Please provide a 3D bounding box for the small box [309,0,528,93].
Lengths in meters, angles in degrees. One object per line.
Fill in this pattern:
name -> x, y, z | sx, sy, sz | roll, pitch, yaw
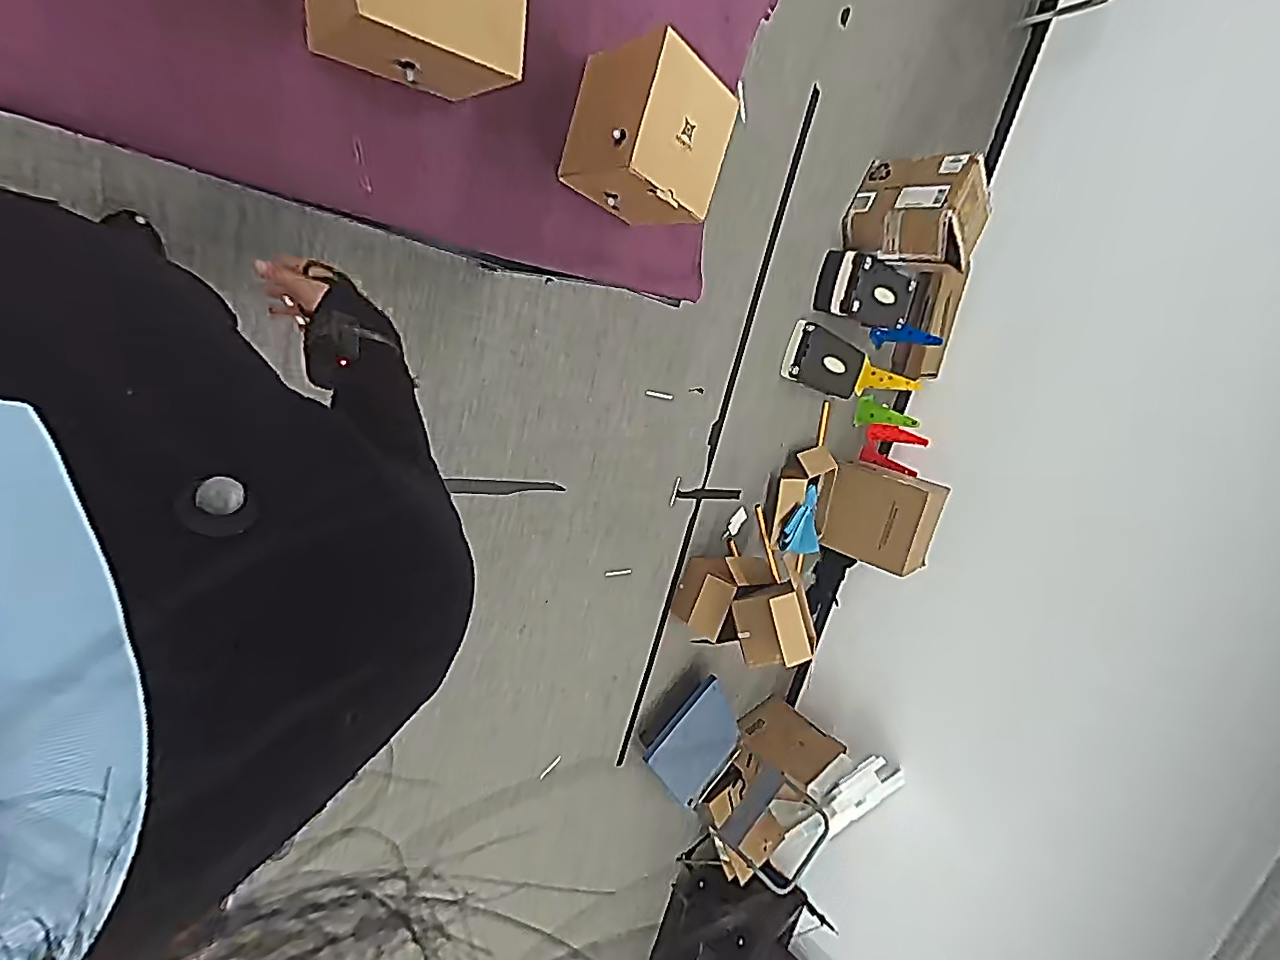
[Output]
small box -> -0.226, -0.525, 0.548 | 0.168, 0.176, 0.179 | -10, 117, -43

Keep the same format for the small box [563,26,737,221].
small box -> 0.010, -0.506, 0.799 | 0.168, 0.176, 0.179 | 8, 103, -47
